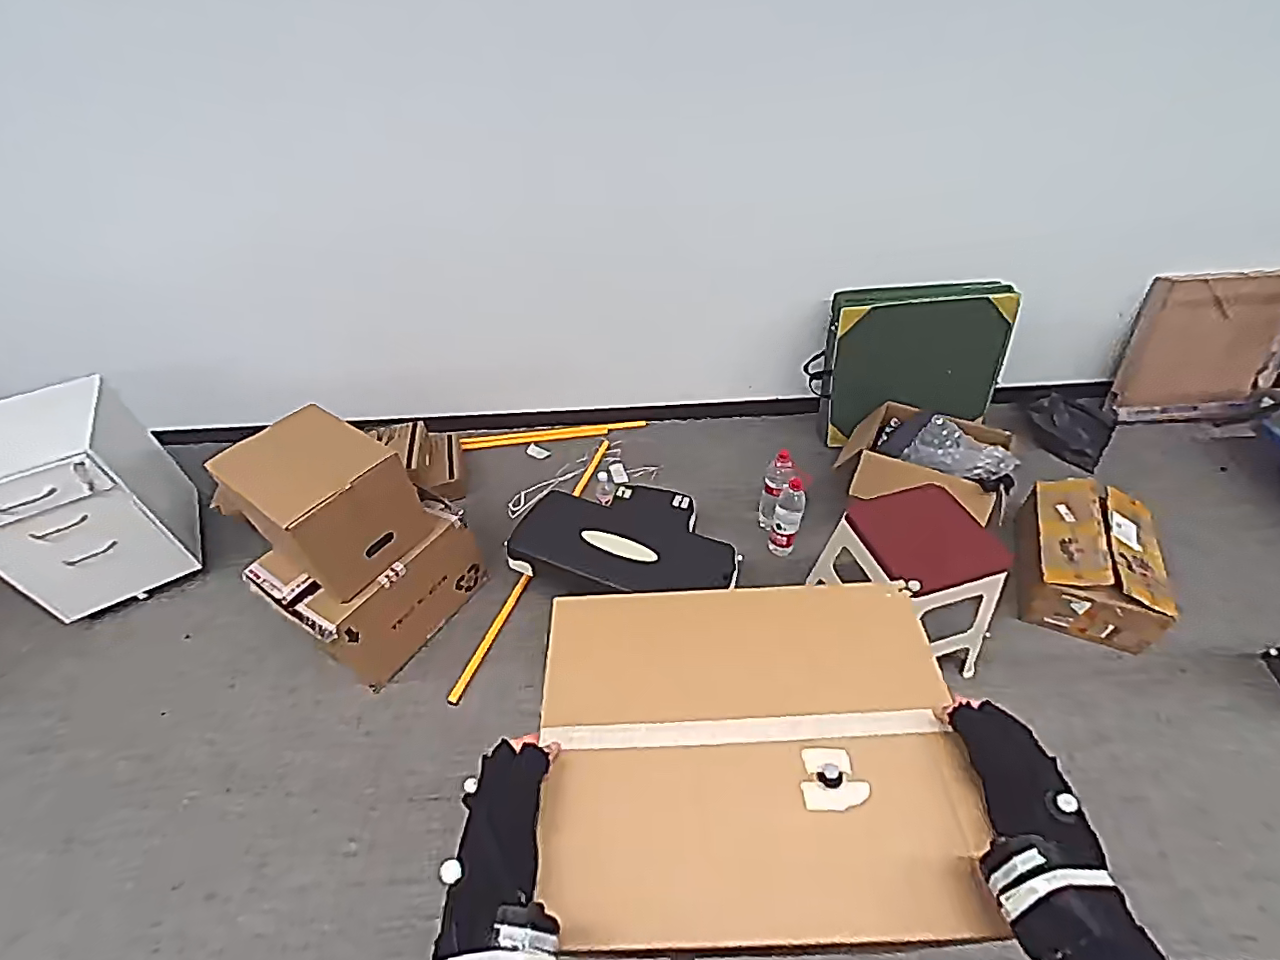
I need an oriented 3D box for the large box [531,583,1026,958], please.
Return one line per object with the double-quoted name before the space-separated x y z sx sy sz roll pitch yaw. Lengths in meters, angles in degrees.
"large box" 0.111 0.344 0.636 0.408 0.320 0.320 -3 48 2
